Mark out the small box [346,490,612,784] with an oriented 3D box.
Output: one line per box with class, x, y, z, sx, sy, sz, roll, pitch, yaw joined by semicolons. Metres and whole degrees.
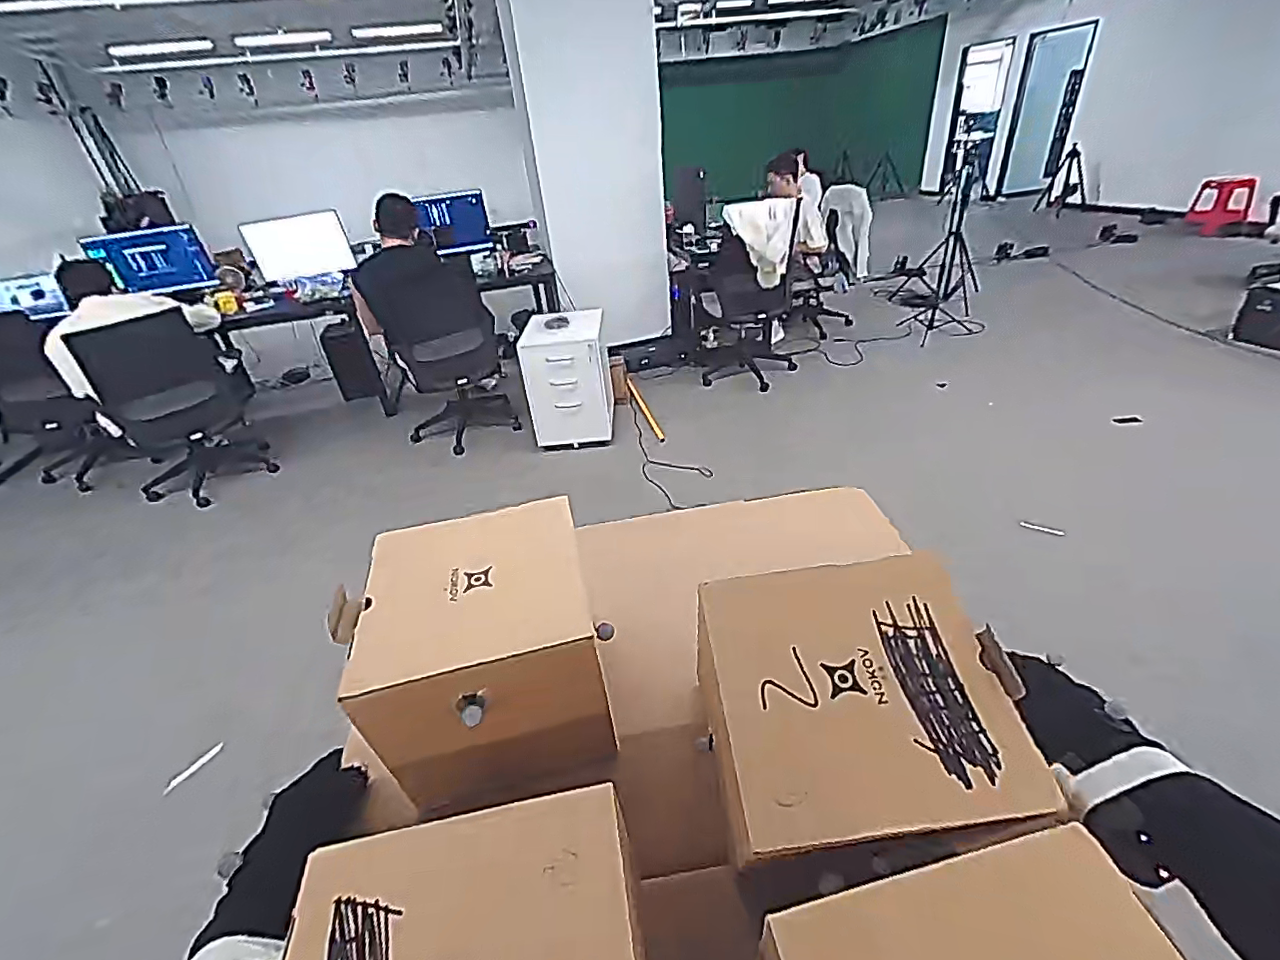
small box;-0.126;0.138;0.487;0.179;0.176;0.168;-13;38;-6
